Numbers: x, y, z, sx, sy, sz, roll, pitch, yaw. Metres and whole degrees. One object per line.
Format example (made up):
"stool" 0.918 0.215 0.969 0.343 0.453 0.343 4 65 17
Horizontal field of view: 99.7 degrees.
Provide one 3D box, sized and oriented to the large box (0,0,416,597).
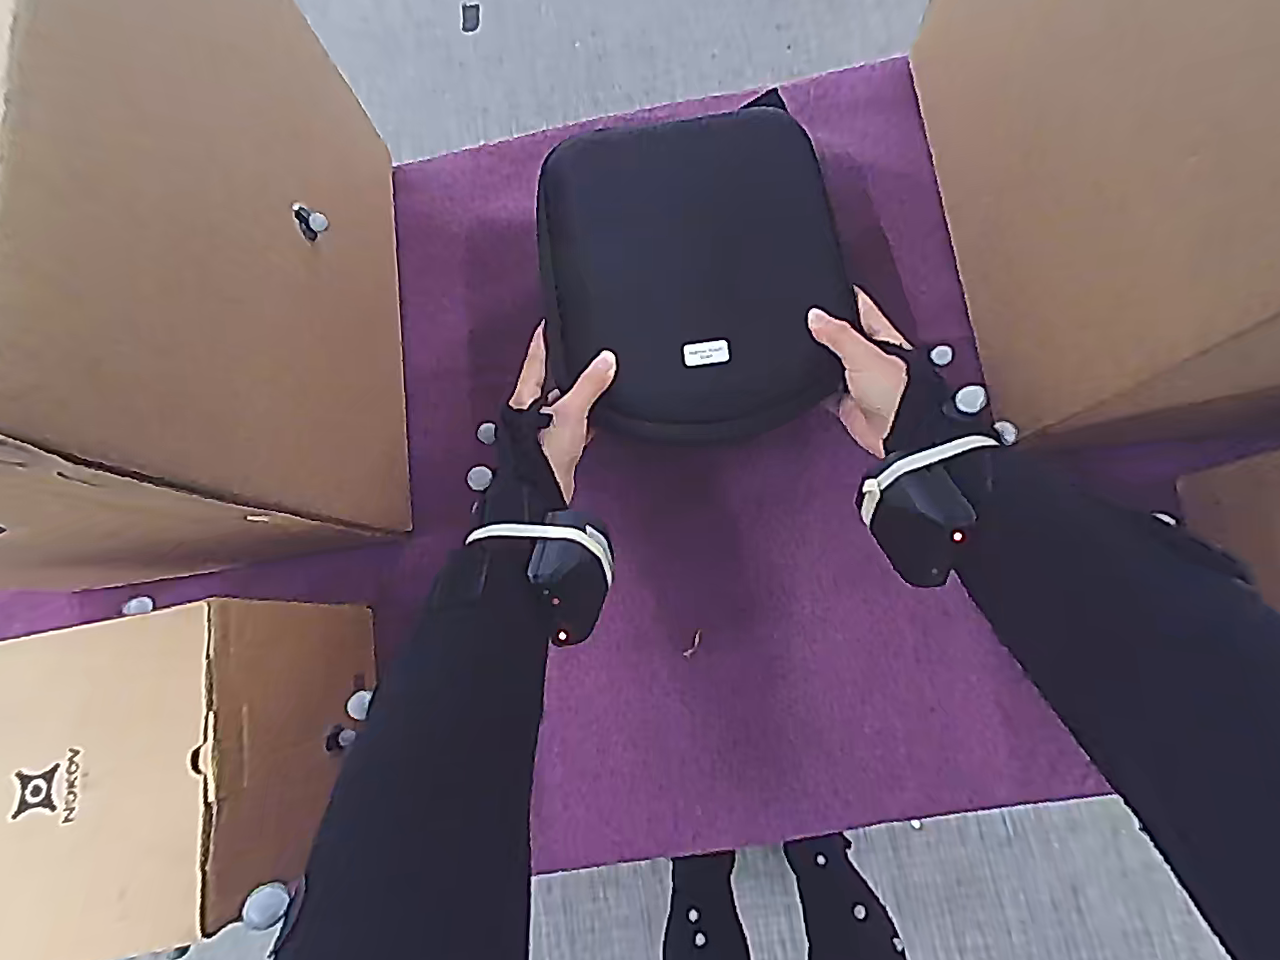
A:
"large box" -0.388 -0.142 0.381 0.320 0.320 0.408 -10 79 2
